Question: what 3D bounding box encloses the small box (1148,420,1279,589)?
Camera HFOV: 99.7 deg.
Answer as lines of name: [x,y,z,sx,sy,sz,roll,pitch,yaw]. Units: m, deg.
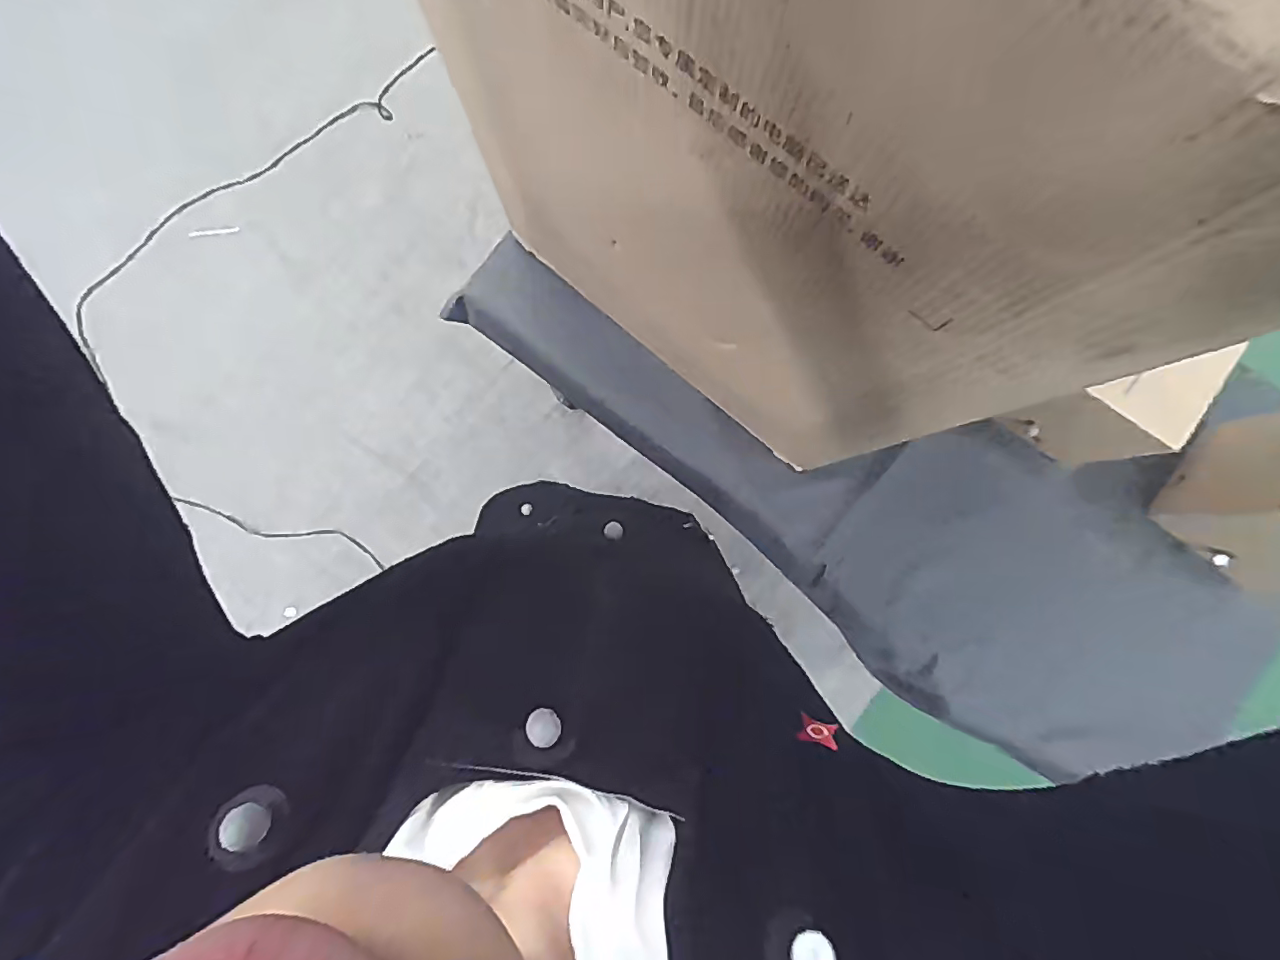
small box: [0.827,0.032,0.684,0.179,0.176,0.168,39,86,2]
